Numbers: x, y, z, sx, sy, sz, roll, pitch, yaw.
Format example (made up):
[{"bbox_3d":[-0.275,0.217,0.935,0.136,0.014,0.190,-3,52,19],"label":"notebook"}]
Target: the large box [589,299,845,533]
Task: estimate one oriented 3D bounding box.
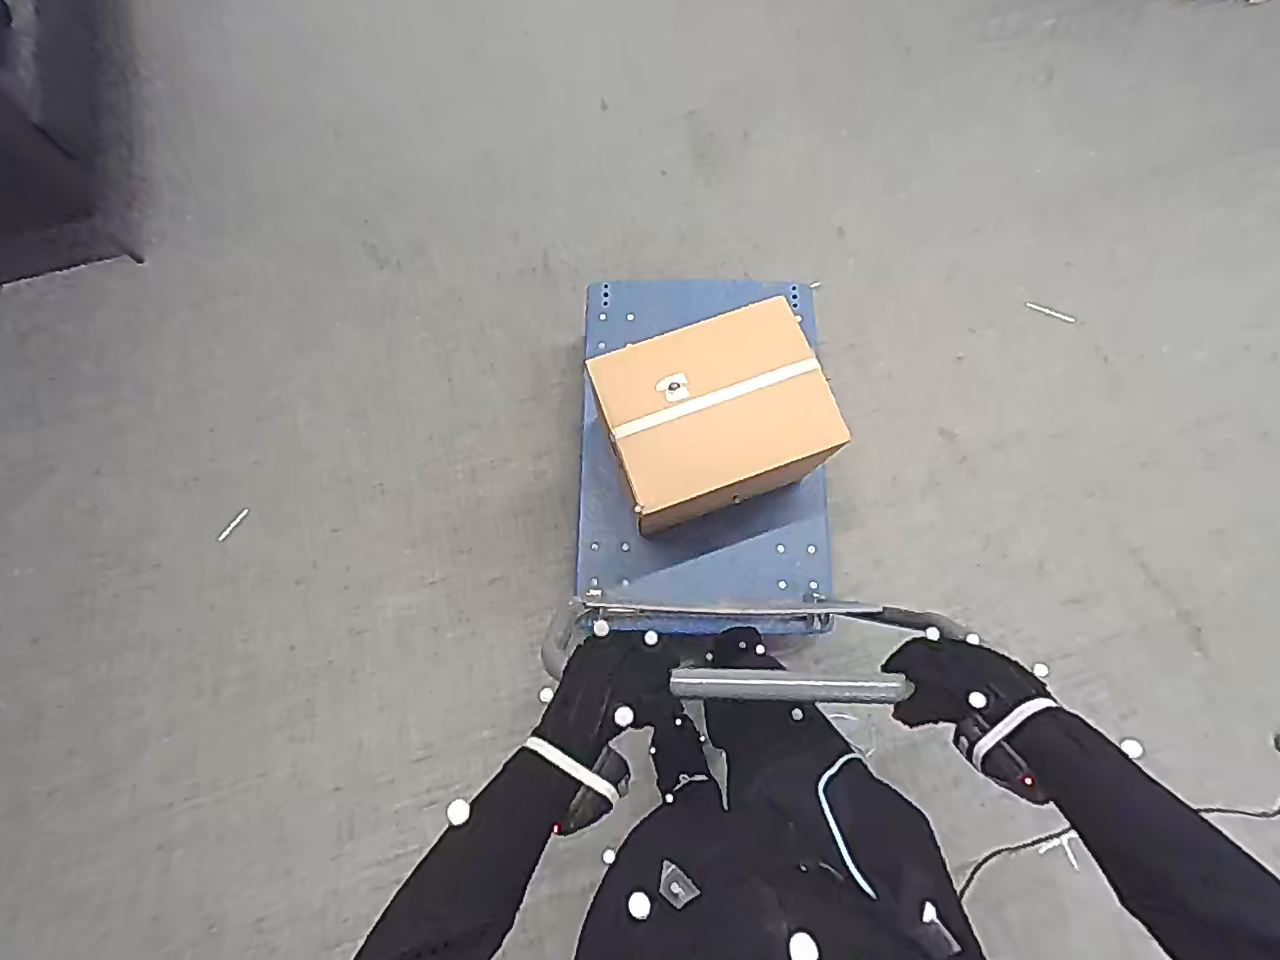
[{"bbox_3d":[0.143,-0.112,1.146,0.408,0.320,0.320,-21,77,-3],"label":"large box"}]
